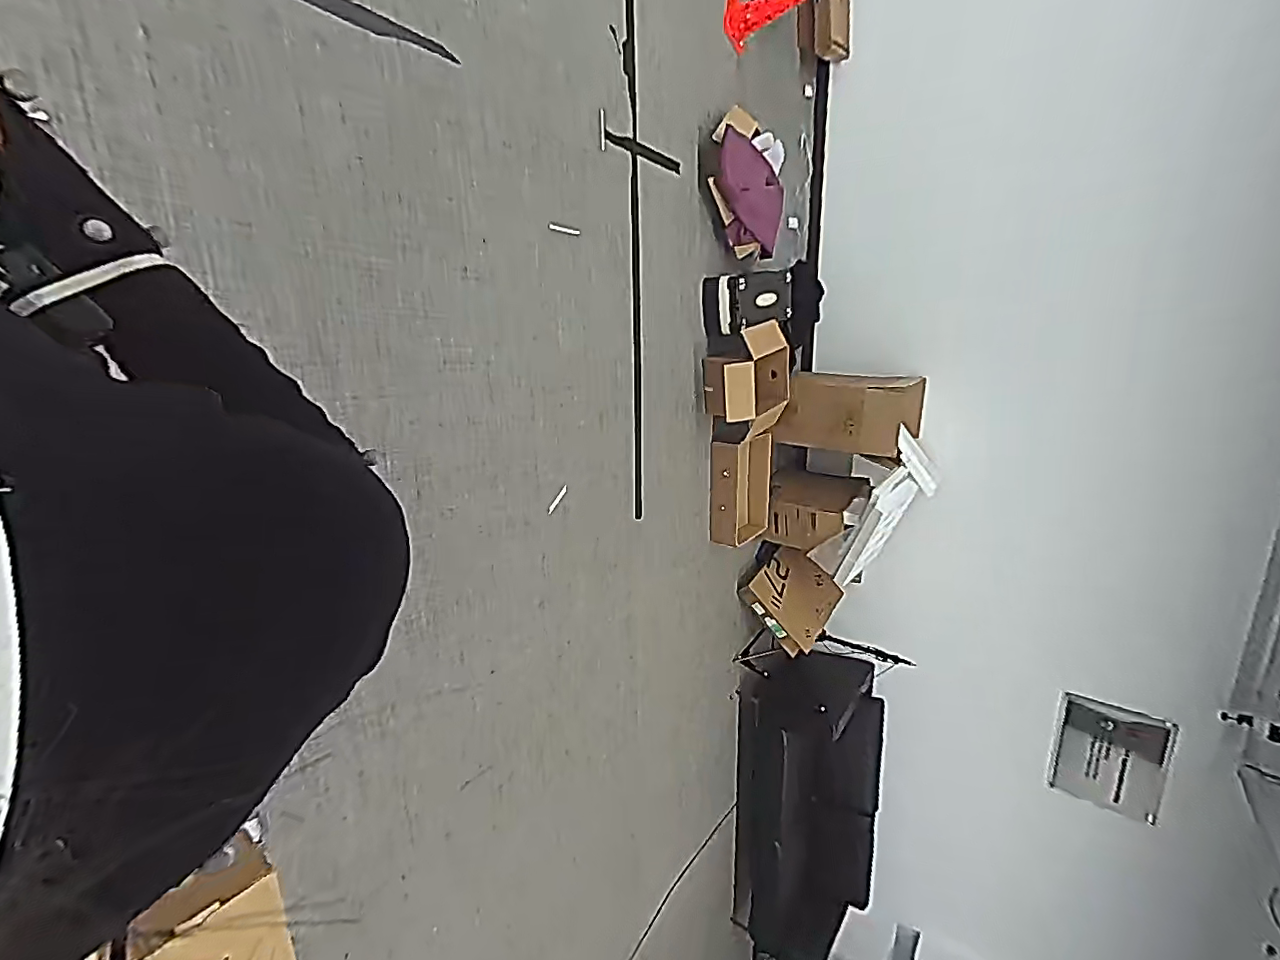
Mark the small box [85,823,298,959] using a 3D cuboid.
[{"bbox_3d":[-0.584,0.592,0.708,0.168,0.176,0.179,-18,108,-51],"label":"small box"}]
